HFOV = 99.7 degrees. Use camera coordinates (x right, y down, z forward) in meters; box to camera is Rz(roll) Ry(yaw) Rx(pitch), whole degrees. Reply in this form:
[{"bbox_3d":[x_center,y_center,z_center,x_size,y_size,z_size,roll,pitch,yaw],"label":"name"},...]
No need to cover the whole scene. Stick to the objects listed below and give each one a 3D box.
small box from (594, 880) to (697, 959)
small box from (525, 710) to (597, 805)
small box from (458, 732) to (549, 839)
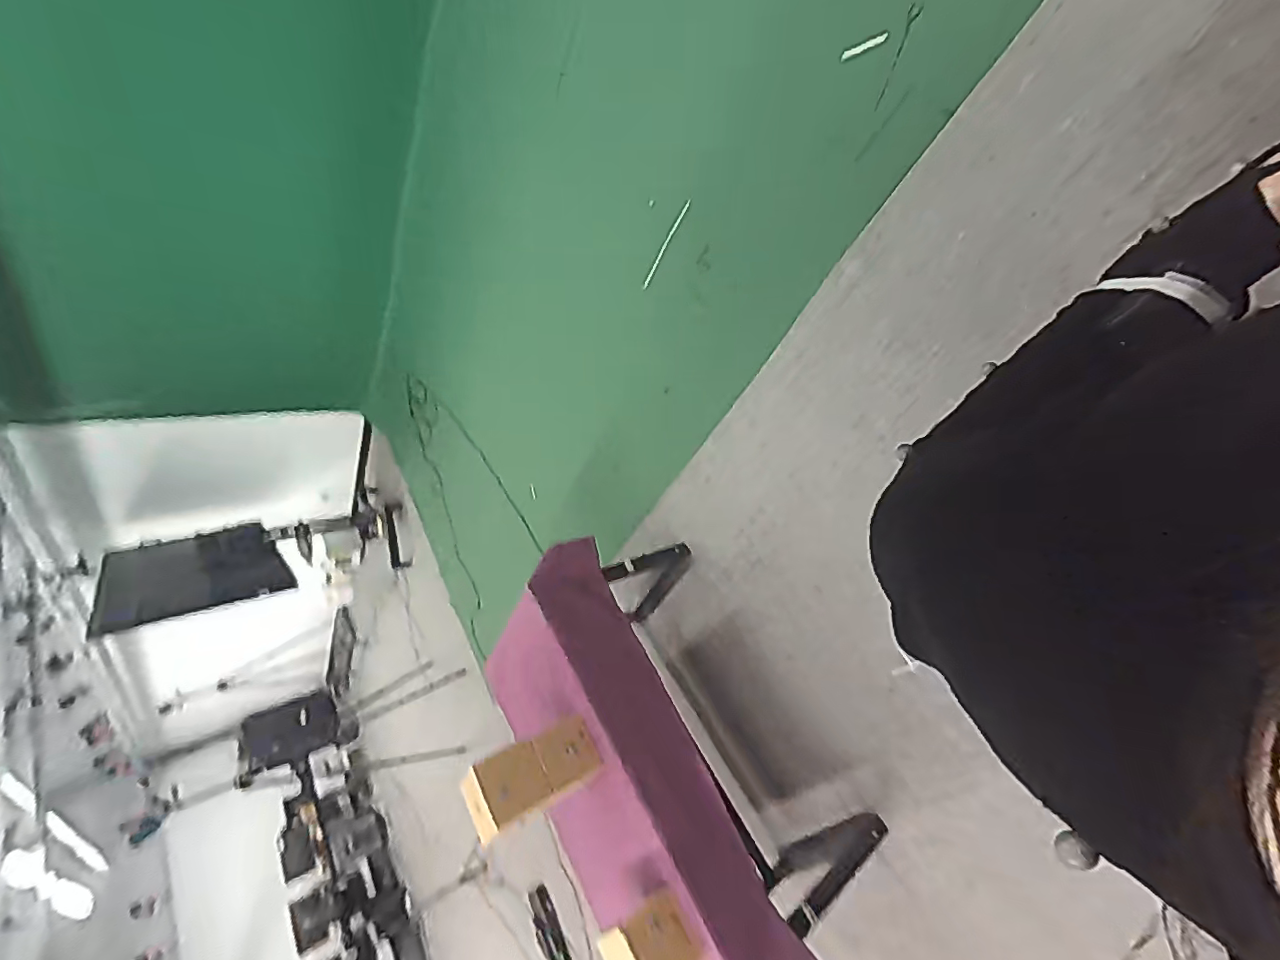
[{"bbox_3d":[0.018,1.153,1.360,0.168,0.176,0.179,54,134,27],"label":"small box"},{"bbox_3d":[-0.247,0.806,1.583,0.168,0.176,0.179,55,133,26],"label":"small box"},{"bbox_3d":[-0.371,0.828,1.475,0.179,0.176,0.168,54,133,26],"label":"small box"}]
